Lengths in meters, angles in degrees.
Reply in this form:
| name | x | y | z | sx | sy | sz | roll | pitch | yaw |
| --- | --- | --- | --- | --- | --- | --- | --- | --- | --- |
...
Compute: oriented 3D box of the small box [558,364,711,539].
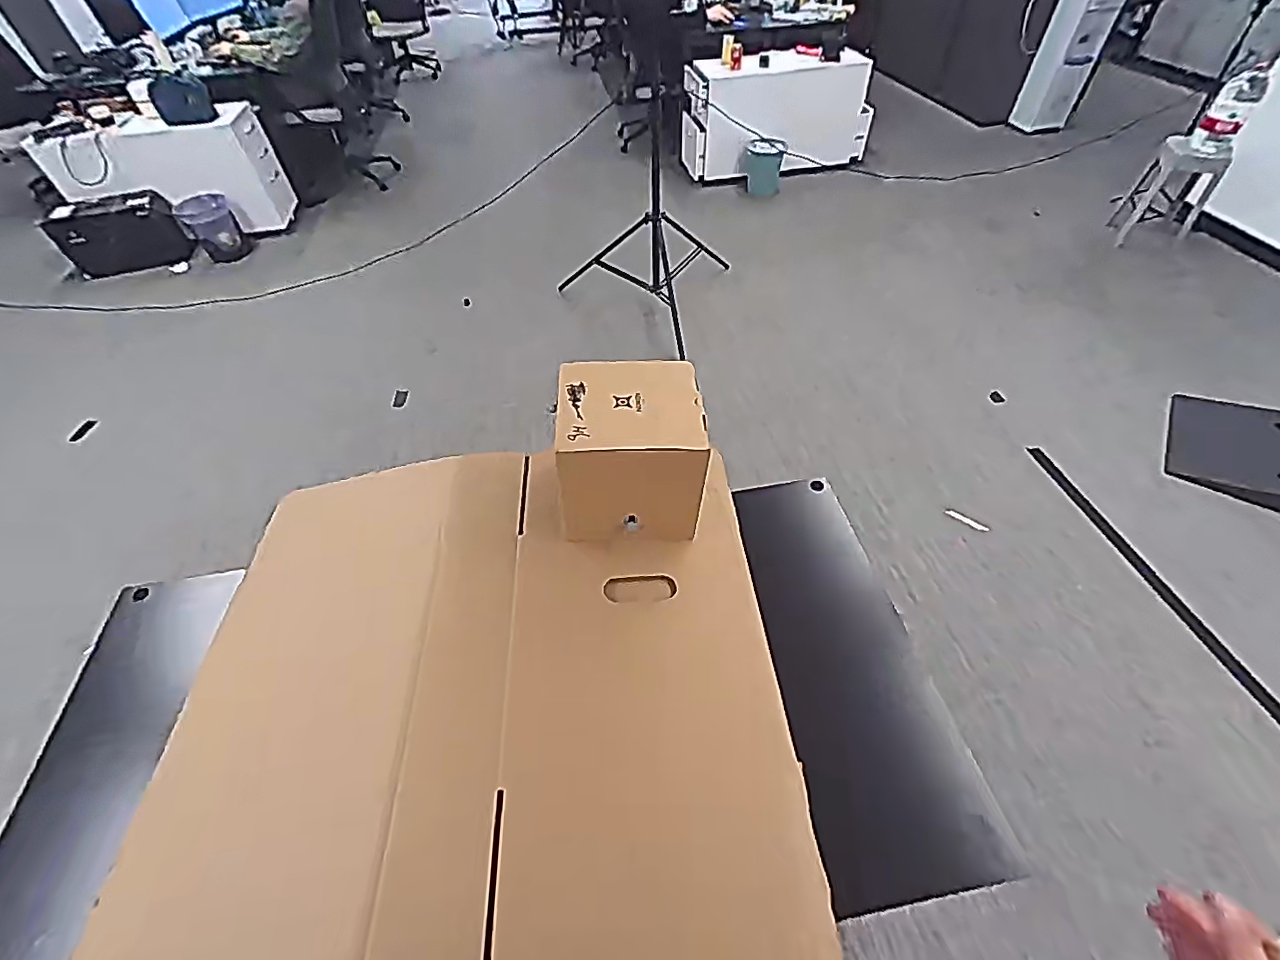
| name | x | y | z | sx | sy | sz | roll | pitch | yaw |
| --- | --- | --- | --- | --- | --- | --- | --- | --- | --- |
| small box | -0.014 | -0.034 | 0.716 | 0.179 | 0.176 | 0.168 | -1 | 47 | -5 |
